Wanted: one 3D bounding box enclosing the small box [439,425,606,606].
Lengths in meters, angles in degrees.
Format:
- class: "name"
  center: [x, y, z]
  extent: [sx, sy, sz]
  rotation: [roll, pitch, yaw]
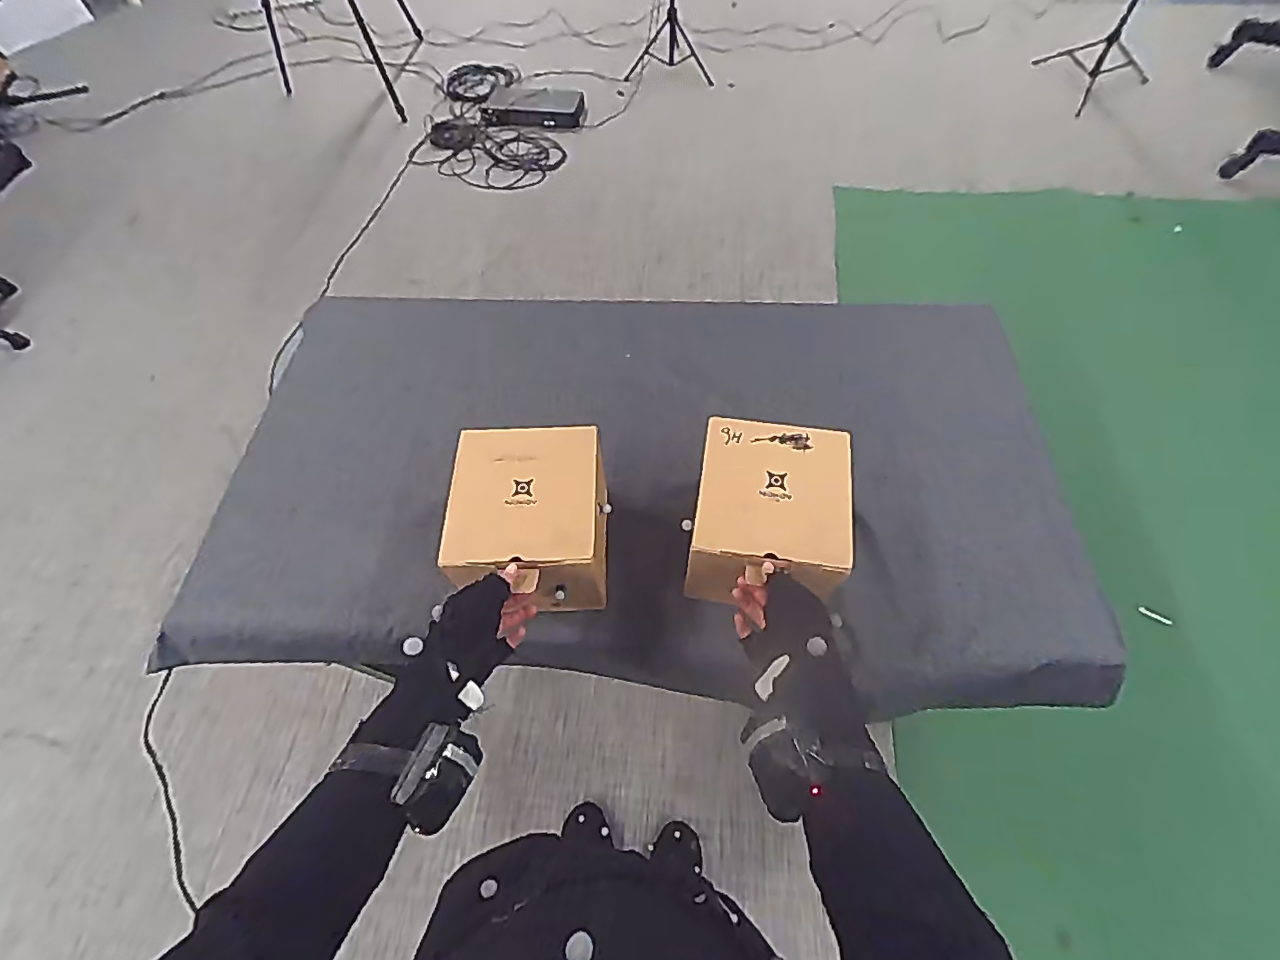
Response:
- class: "small box"
  center: [-0.130, 0.053, 0.672]
  extent: [0.168, 0.176, 0.179]
  rotation: [-2, 59, -1]
